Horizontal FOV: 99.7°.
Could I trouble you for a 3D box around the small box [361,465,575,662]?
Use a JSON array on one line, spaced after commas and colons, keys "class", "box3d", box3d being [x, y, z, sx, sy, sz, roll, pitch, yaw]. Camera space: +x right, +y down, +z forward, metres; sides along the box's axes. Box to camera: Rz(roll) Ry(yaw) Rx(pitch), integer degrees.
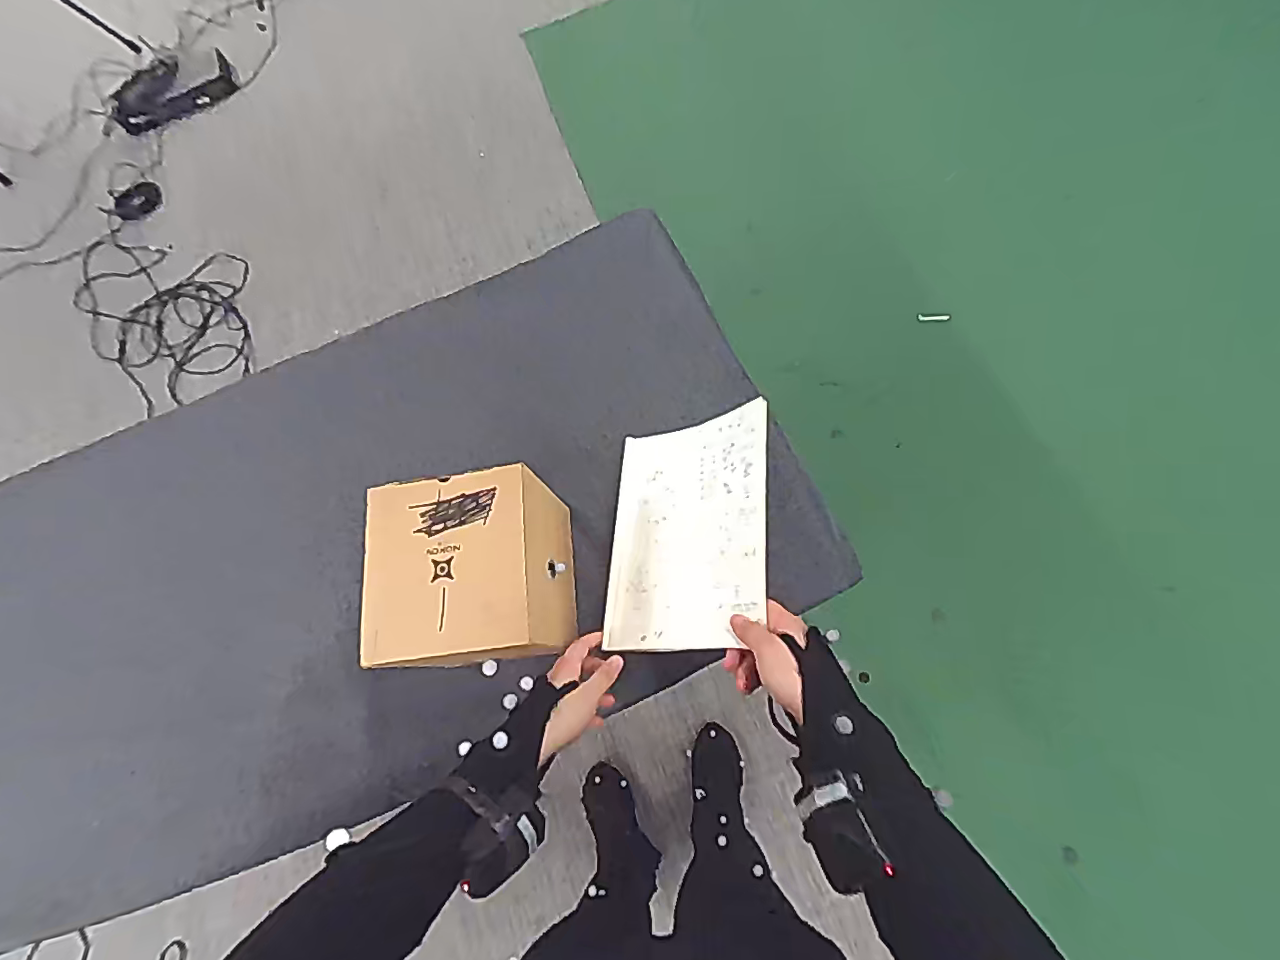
[{"class": "small box", "box3d": [-0.176, 0.102, 0.596, 0.168, 0.176, 0.179, -10, 71, 7]}]
